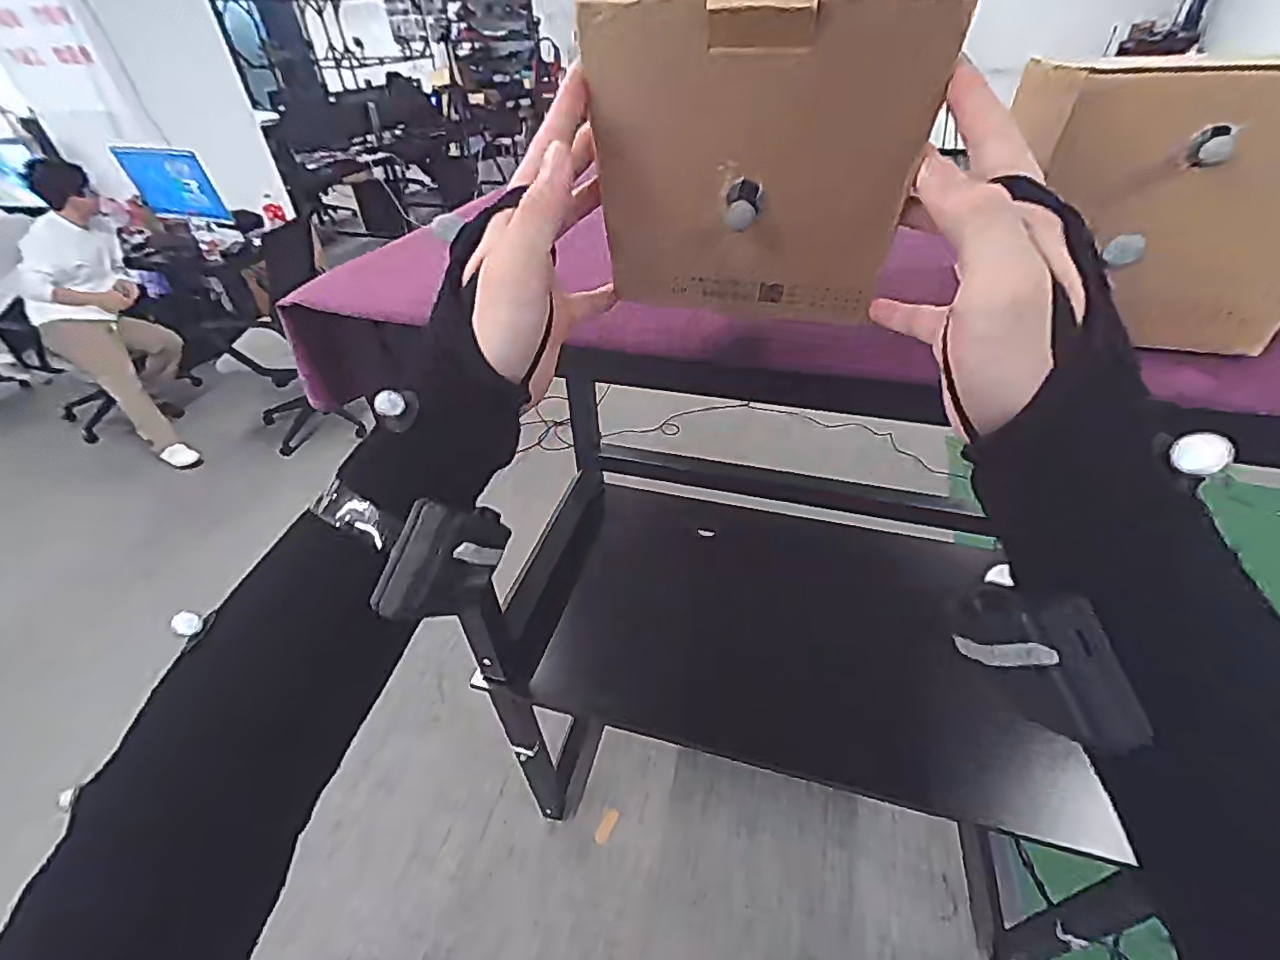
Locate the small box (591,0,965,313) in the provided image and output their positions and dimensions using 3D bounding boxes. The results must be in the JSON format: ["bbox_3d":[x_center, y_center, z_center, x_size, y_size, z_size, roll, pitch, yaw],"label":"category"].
[{"bbox_3d":[0.082,-0.229,0.343,0.168,0.176,0.179,9,59,11],"label":"small box"}]

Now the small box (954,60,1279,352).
[{"bbox_3d":[0.373,-0.212,0.417,0.179,0.176,0.168,9,40,15],"label":"small box"}]
